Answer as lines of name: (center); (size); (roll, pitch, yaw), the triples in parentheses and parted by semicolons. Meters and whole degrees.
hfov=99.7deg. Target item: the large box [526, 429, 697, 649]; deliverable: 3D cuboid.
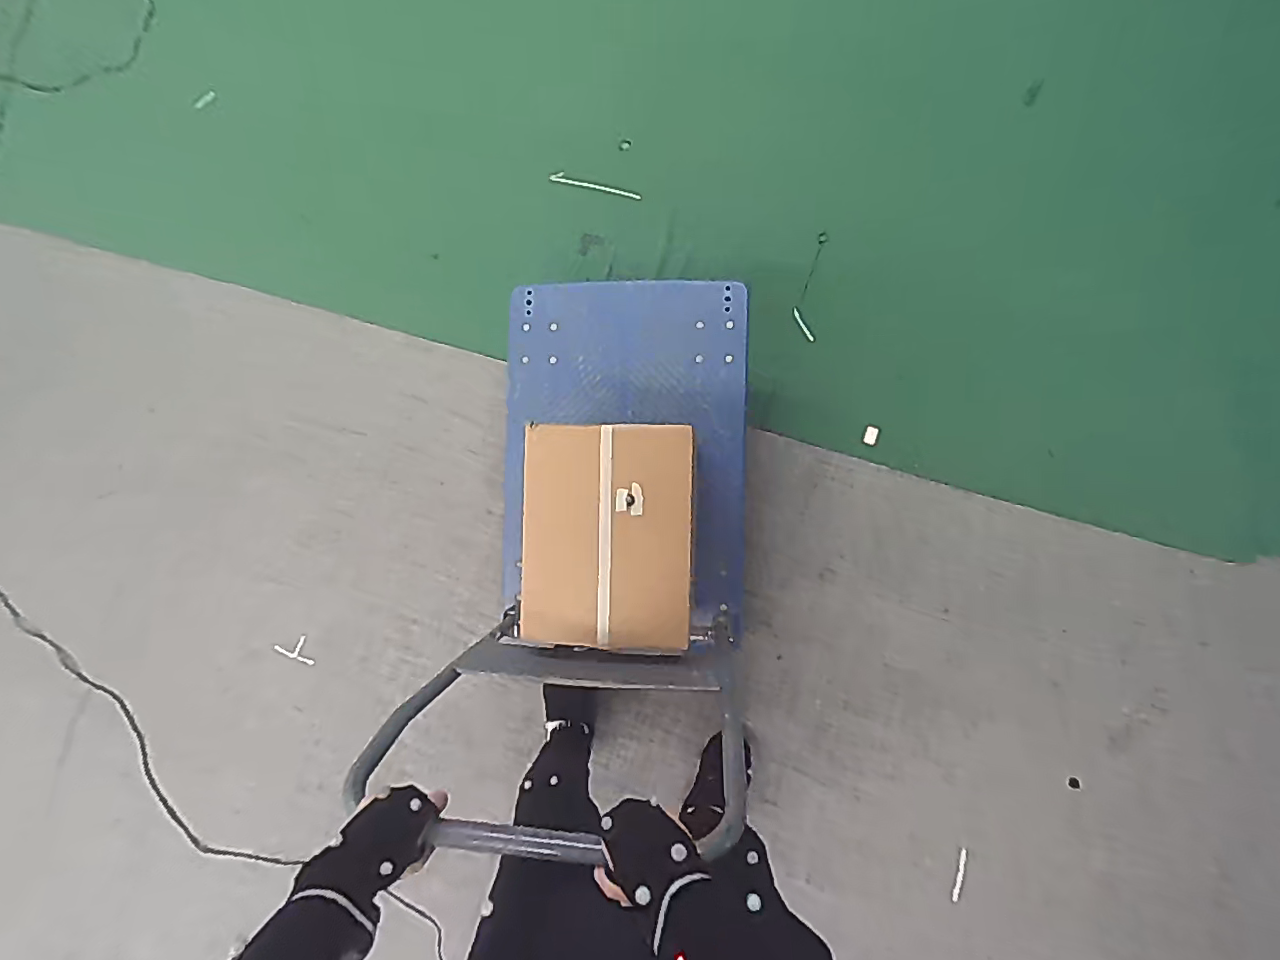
large box: (-0.040, 0.112, 1.138); (0.320, 0.320, 0.408); (1, 88, 6)
